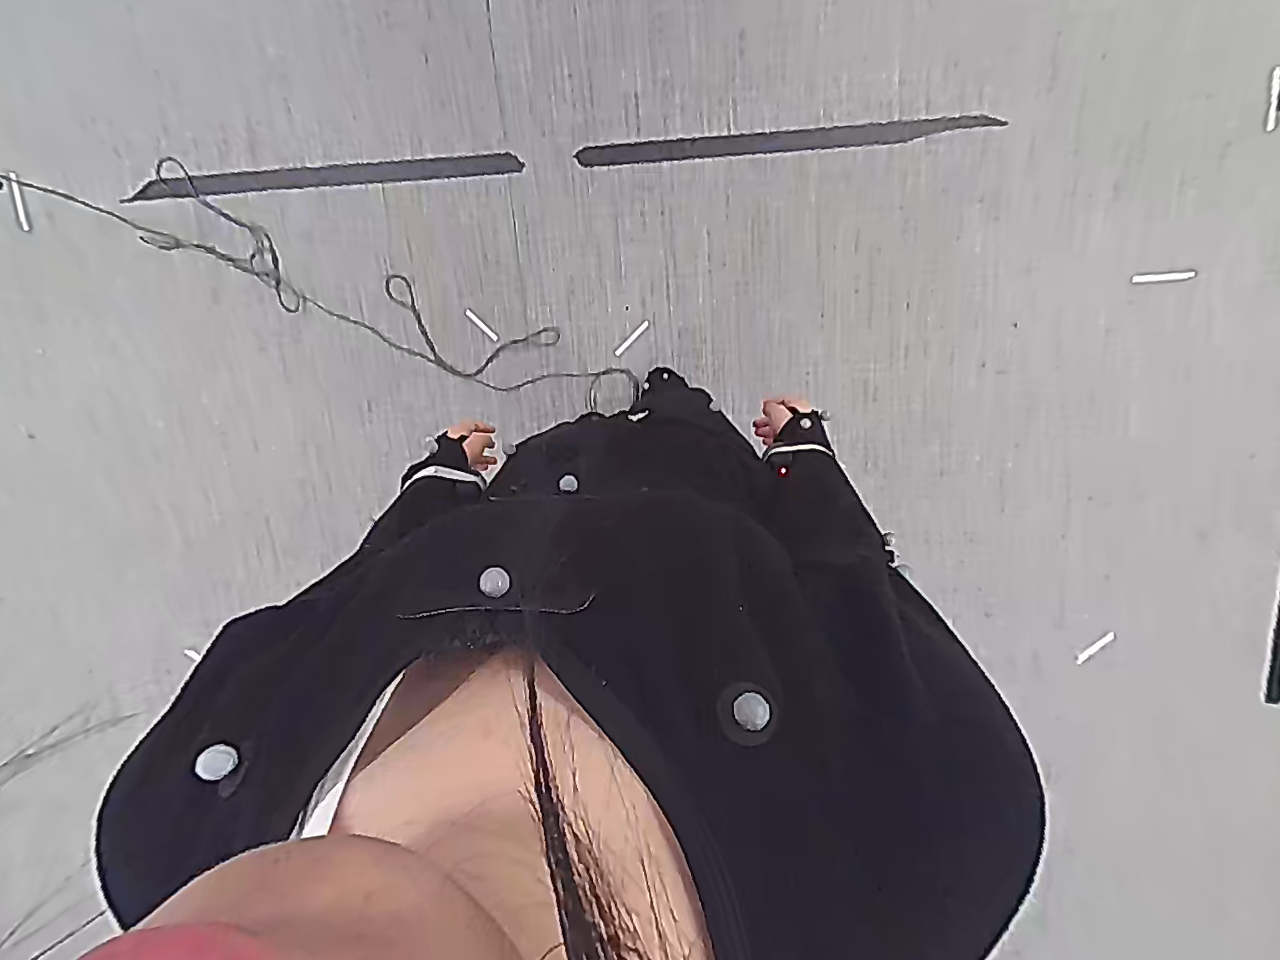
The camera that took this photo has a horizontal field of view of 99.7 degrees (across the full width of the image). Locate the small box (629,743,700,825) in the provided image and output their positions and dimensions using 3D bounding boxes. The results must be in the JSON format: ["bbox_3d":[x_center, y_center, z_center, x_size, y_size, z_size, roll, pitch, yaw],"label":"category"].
[{"bbox_3d":[0.069,0.831,1.539,0.168,0.176,0.179,-13,99,2],"label":"small box"}]
